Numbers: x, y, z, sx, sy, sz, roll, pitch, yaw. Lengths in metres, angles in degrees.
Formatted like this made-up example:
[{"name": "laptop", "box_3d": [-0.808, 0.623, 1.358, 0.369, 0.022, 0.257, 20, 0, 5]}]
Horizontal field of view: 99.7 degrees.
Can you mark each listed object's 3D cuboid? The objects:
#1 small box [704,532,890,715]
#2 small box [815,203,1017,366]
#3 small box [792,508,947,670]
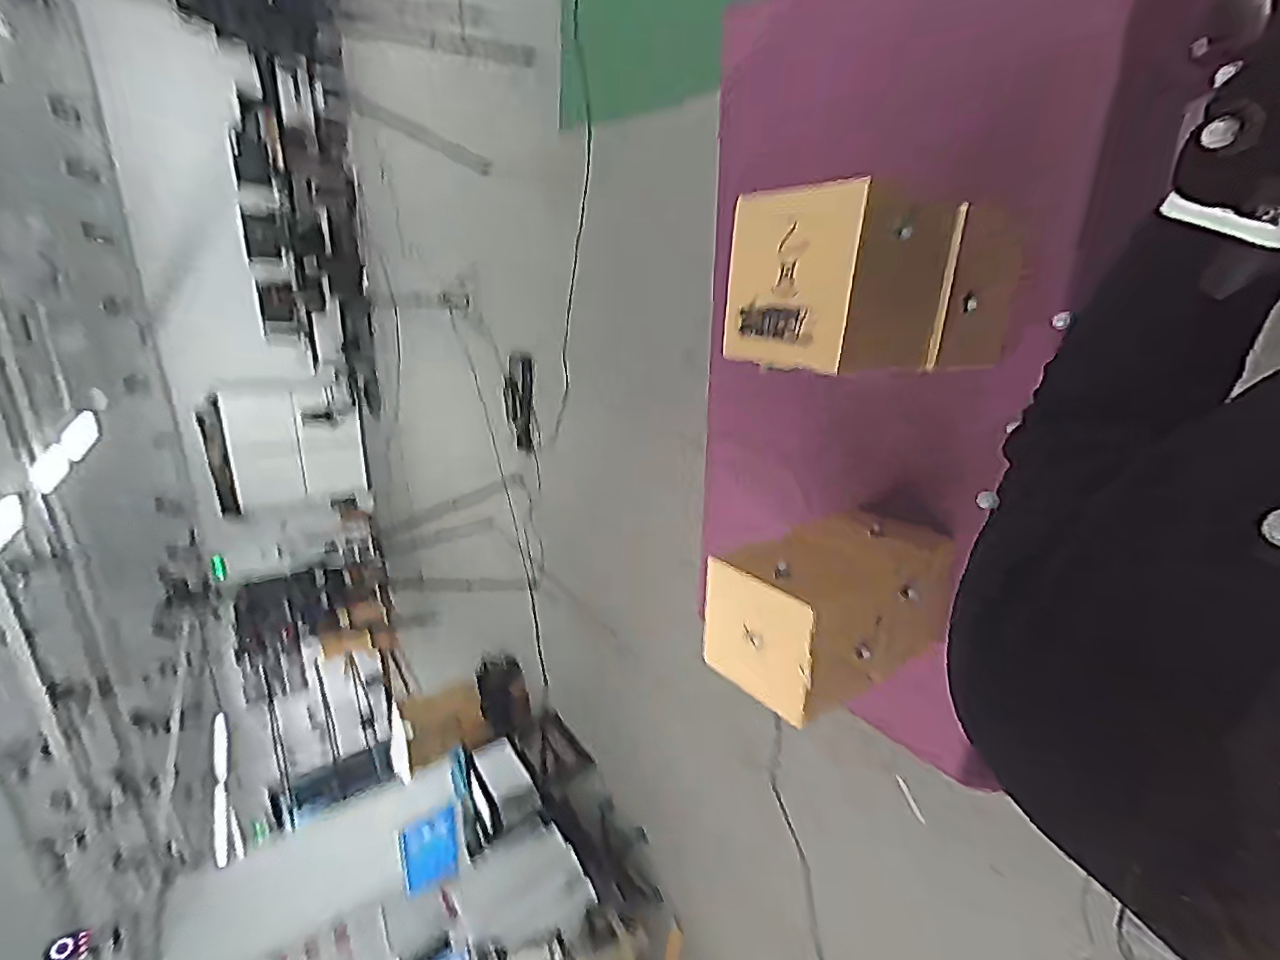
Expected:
[{"name": "small box", "box_3d": [0.212, 0.181, 0.750, 0.179, 0.176, 0.168, 20, 115, 50]}, {"name": "small box", "box_3d": [0.358, -0.250, 0.708, 0.168, 0.176, 0.179, 24, 118, 50]}, {"name": "small box", "box_3d": [0.347, 0.154, 0.838, 0.168, 0.176, 0.179, 21, 115, 51]}]
